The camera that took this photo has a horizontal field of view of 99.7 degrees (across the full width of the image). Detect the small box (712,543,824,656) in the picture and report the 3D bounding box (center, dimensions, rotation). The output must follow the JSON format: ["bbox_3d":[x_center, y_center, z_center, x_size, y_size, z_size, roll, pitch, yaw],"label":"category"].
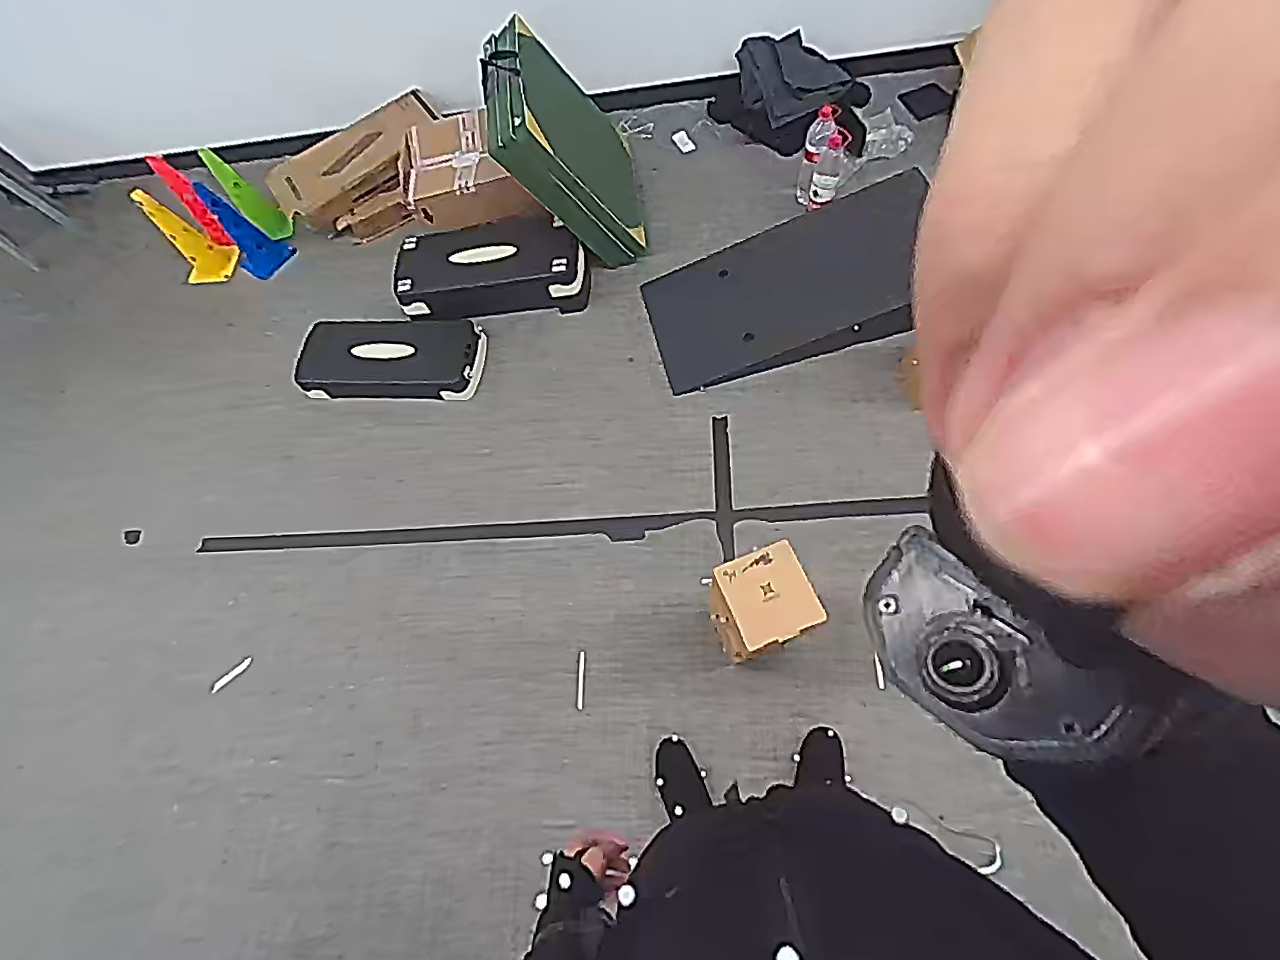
[{"bbox_3d":[0.259,0.257,1.131,0.168,0.176,0.179,-21,67,-2],"label":"small box"}]
